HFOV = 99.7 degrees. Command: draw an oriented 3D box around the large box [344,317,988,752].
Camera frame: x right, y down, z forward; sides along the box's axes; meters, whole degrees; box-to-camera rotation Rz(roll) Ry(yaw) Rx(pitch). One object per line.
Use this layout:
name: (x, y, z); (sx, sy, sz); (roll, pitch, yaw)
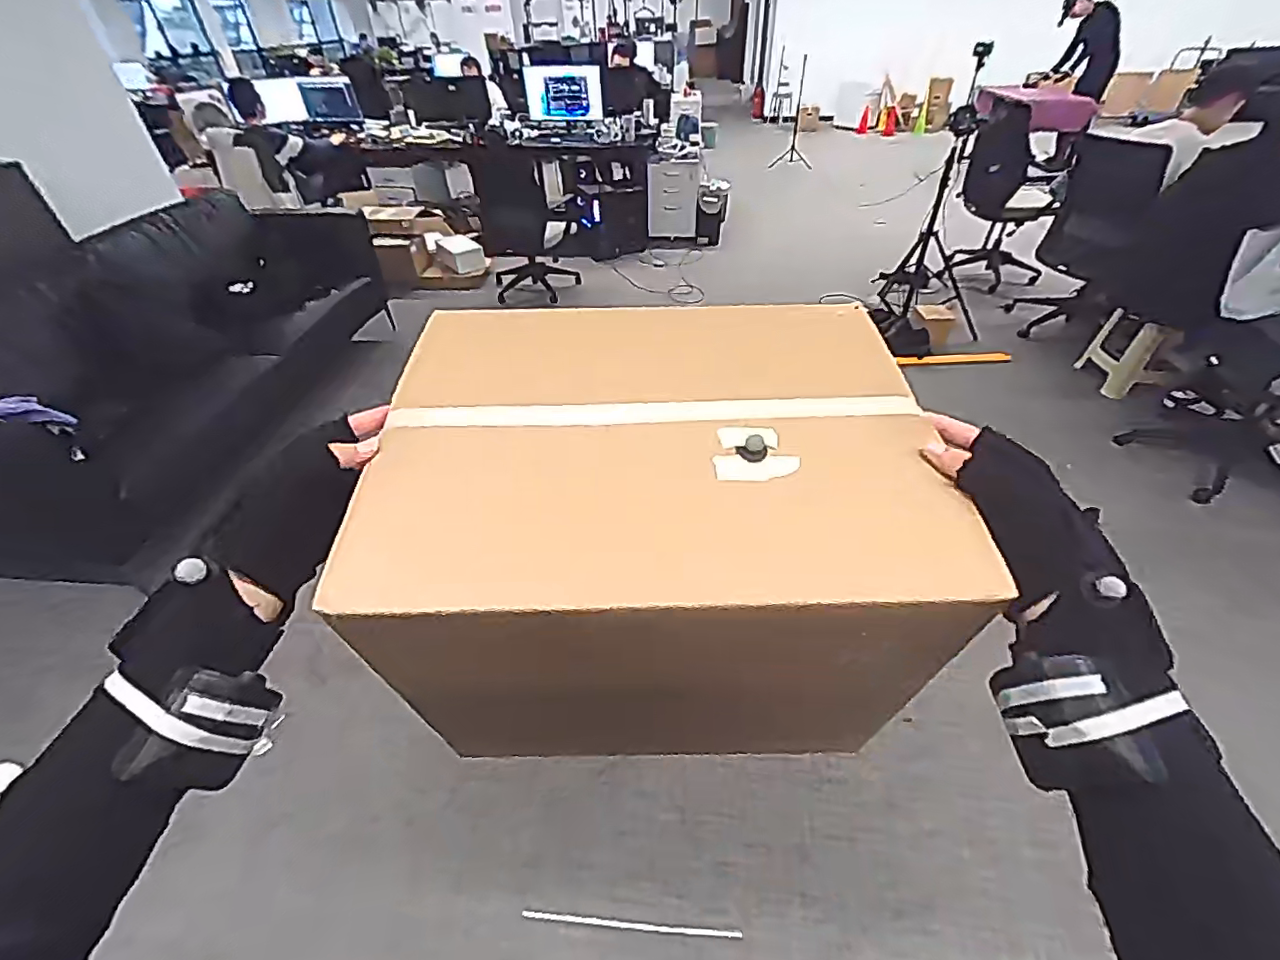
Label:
large box: (0.013, 0.056, 0.535); (0.408, 0.320, 0.320); (0, 49, -1)
